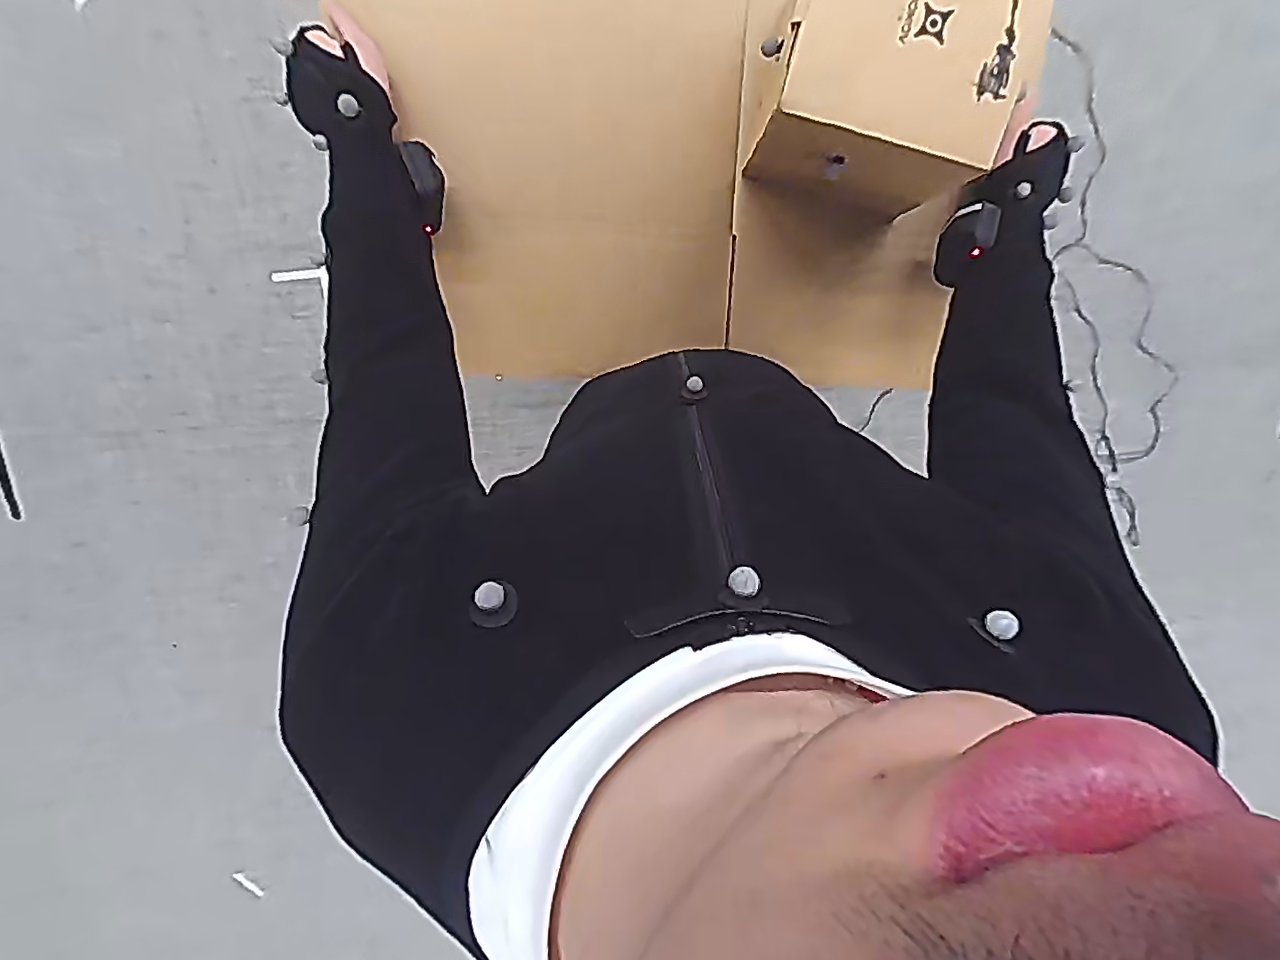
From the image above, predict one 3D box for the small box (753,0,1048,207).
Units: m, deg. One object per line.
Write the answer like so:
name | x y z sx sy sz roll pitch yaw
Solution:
small box | 0.212 -0.364 0.480 0.179 0.176 0.168 14 104 -1
